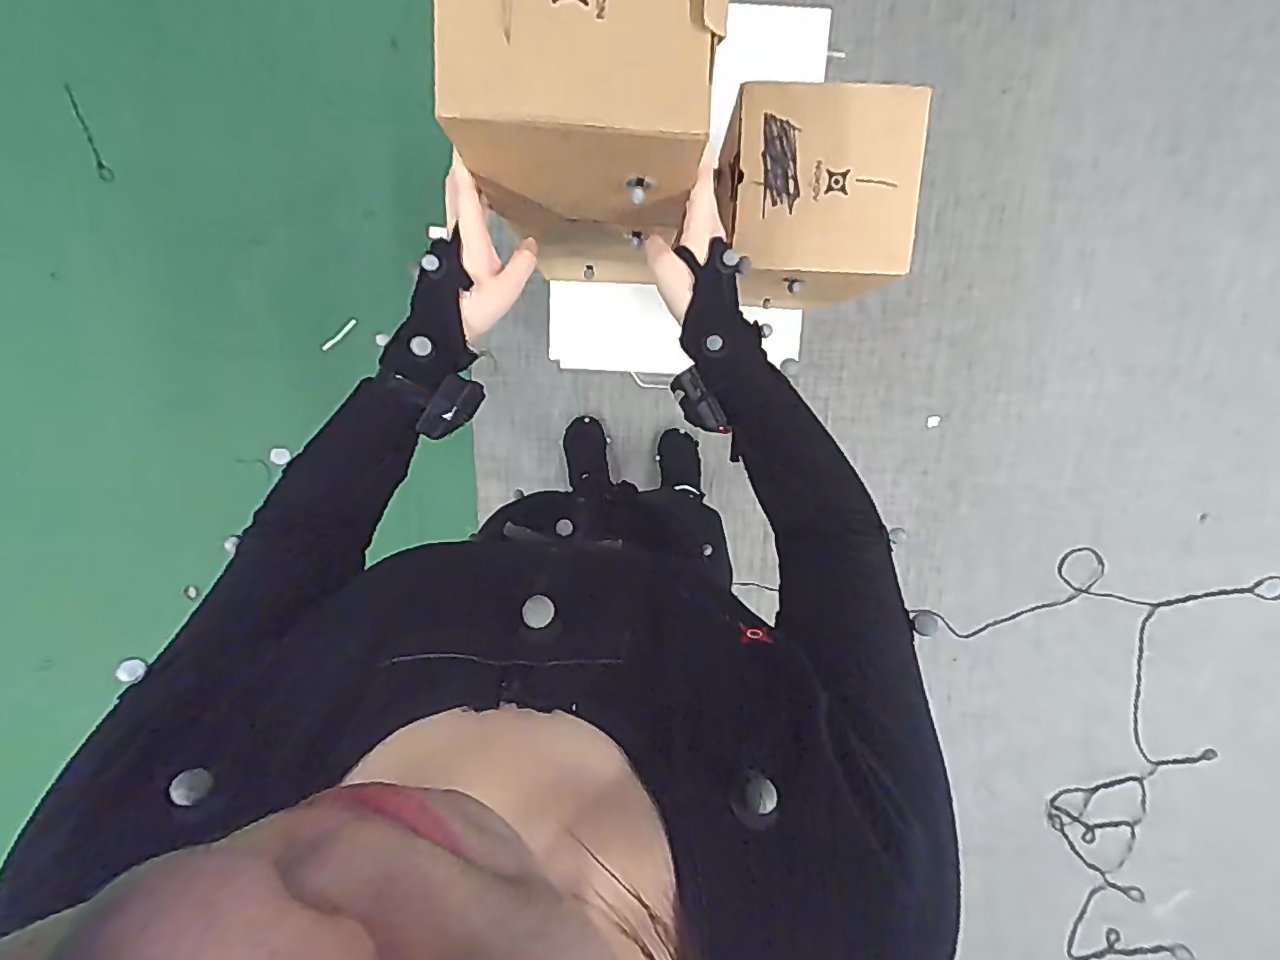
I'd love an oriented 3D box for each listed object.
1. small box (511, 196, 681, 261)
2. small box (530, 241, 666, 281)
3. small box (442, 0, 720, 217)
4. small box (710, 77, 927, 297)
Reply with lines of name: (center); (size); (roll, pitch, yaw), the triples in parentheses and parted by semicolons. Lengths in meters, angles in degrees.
small box: (-0.048, -0.344, 0.579); (0.179, 0.176, 0.168); (3, 98, -5)
small box: (-0.054, -0.375, 0.740); (0.179, 0.176, 0.168); (1, 100, -3)
small box: (-0.040, -0.319, 0.416); (0.179, 0.176, 0.168); (2, 96, -3)
small box: (0.175, -0.300, 0.591); (0.179, 0.176, 0.168); (3, 100, -1)
